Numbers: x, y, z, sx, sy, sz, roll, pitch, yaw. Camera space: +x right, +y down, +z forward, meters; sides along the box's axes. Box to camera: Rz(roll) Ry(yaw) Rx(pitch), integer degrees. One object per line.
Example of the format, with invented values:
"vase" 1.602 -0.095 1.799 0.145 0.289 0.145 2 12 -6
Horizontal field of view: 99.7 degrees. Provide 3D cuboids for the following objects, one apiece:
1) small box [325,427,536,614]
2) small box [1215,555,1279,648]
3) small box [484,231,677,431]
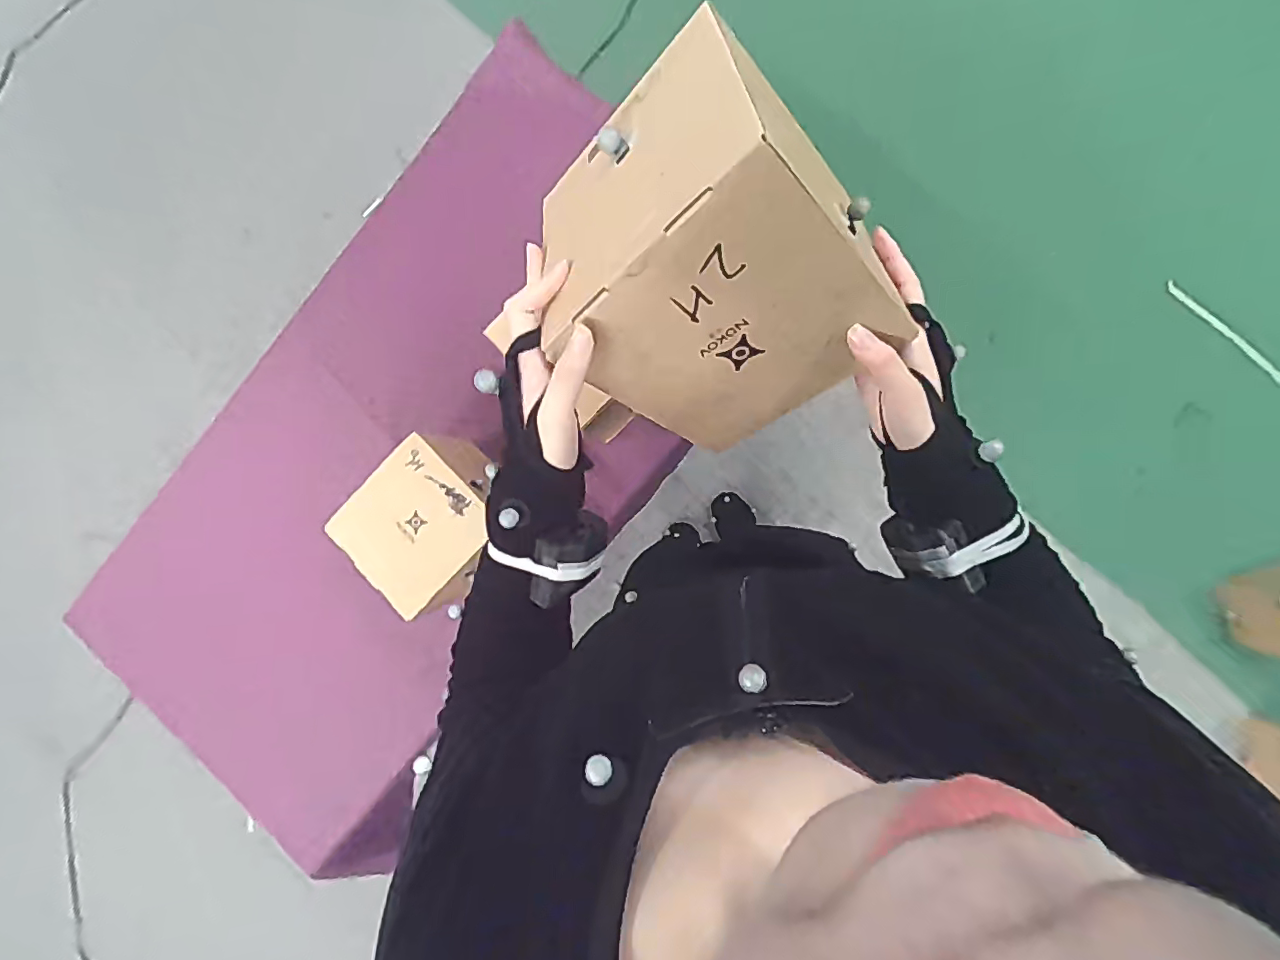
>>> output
"small box" -0.272 0.051 0.744 0.168 0.176 0.179 45 95 5
"small box" 1.530 0.285 1.259 0.179 0.176 0.168 -22 87 6
"small box" -0.067 -0.182 0.724 0.168 0.176 0.179 -45 85 5
